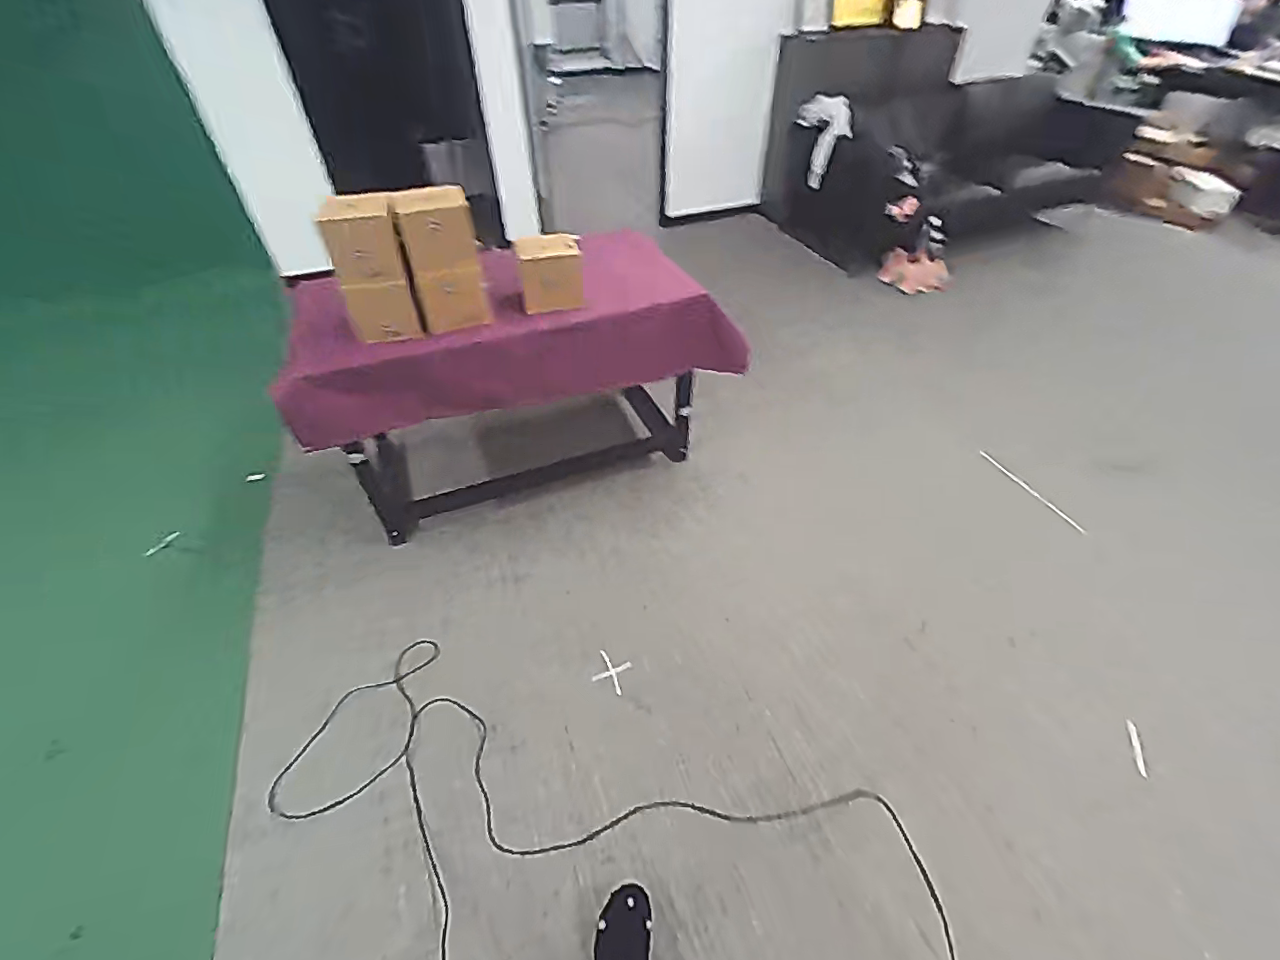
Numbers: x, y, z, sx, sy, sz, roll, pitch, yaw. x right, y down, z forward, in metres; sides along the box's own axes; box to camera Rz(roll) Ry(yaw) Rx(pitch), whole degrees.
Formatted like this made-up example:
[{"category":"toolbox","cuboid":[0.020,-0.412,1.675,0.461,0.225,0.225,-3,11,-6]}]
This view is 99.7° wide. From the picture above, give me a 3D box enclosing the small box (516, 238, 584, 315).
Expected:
[{"category":"small box","cuboid":[-0.273,-0.618,1.651,0.179,0.176,0.168,-10,45,-10]}]
